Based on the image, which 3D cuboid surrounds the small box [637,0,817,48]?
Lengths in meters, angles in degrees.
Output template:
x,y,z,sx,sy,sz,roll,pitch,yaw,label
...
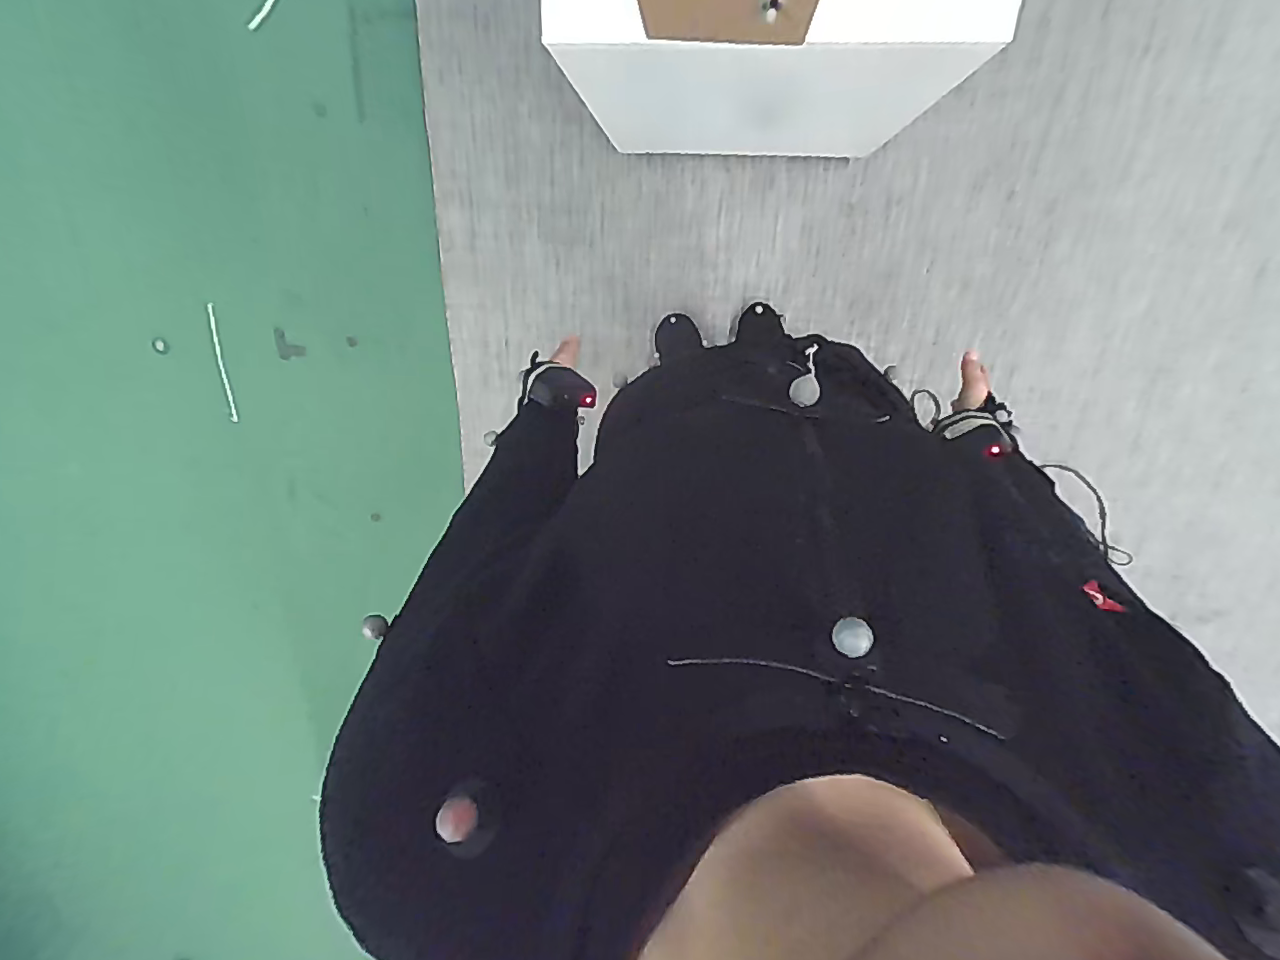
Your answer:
x,y,z,sx,sy,sz,roll,pitch,yaw,label
0.088,-0.527,0.490,0.179,0.176,0.168,6,108,6,small box
